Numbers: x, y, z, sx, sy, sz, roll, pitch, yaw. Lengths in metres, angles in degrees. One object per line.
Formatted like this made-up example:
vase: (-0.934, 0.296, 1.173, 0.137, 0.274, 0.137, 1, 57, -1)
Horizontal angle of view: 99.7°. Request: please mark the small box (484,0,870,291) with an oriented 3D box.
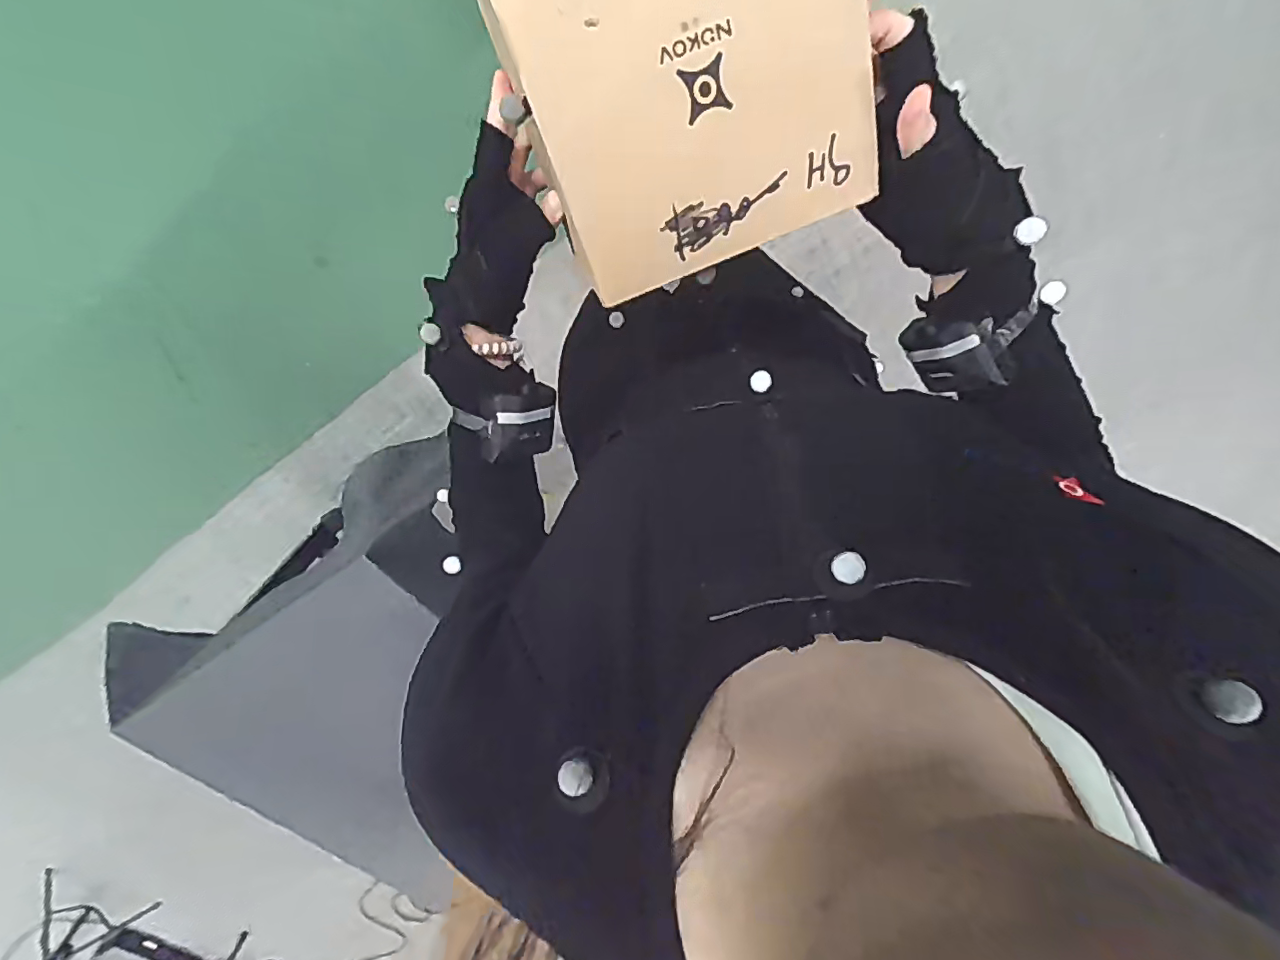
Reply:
small box: (0.012, -0.241, 0.327, 0.168, 0.176, 0.179, -21, 122, 1)
